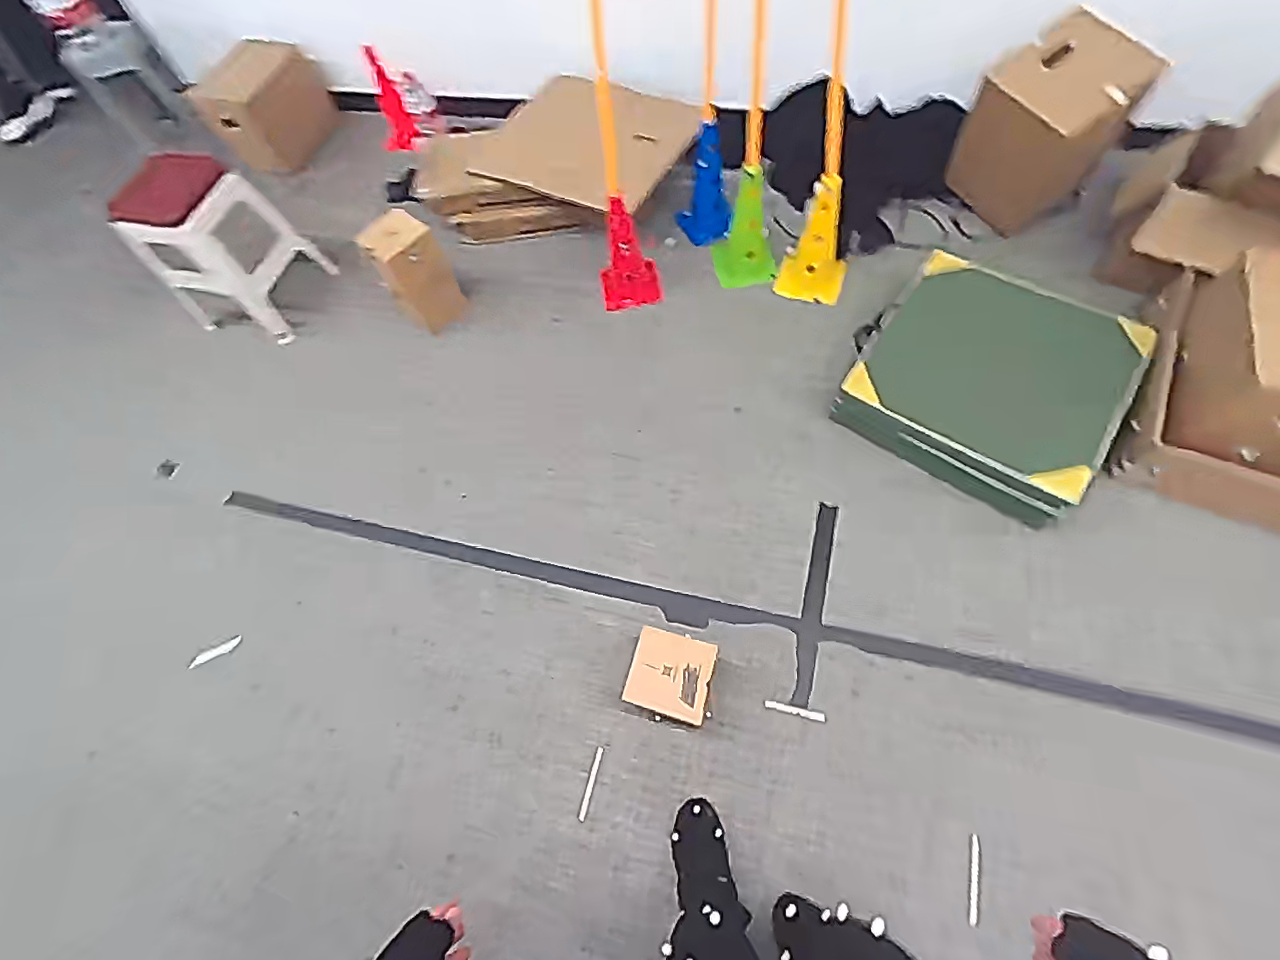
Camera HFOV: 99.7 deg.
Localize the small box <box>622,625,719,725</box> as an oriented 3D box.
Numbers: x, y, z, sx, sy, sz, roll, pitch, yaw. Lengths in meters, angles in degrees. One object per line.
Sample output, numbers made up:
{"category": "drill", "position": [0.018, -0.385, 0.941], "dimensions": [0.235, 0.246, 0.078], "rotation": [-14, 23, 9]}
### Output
{"category": "small box", "position": [0.076, 0.450, 1.239], "dimensions": [0.179, 0.176, 0.168], "rotation": [13, 66, 14]}
